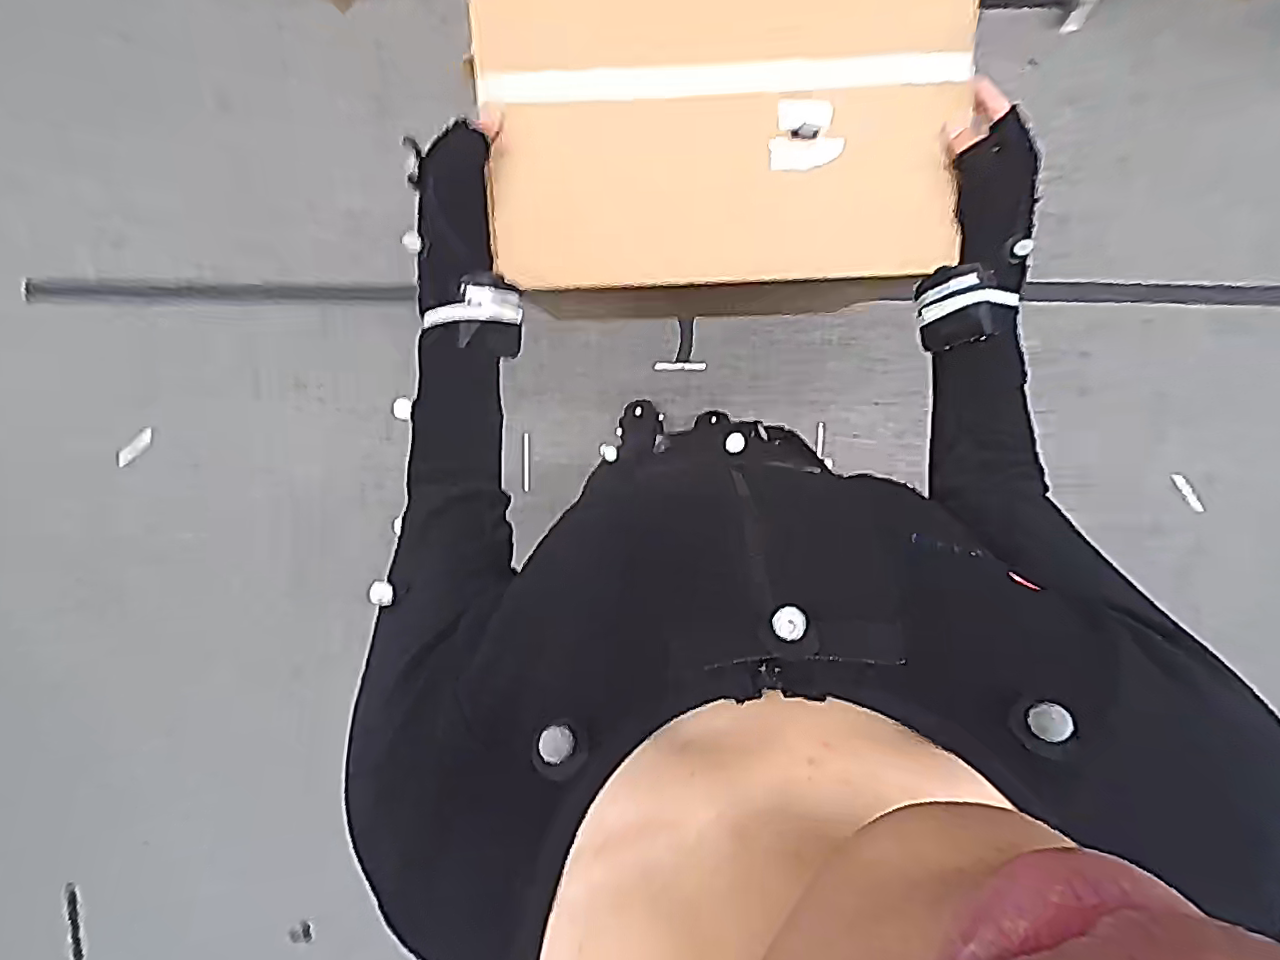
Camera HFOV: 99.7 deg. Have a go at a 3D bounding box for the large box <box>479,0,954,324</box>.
[{"bbox_3d":[0.065,-0.360,0.612,0.408,0.320,0.320,-2,101,0],"label":"large box"}]
